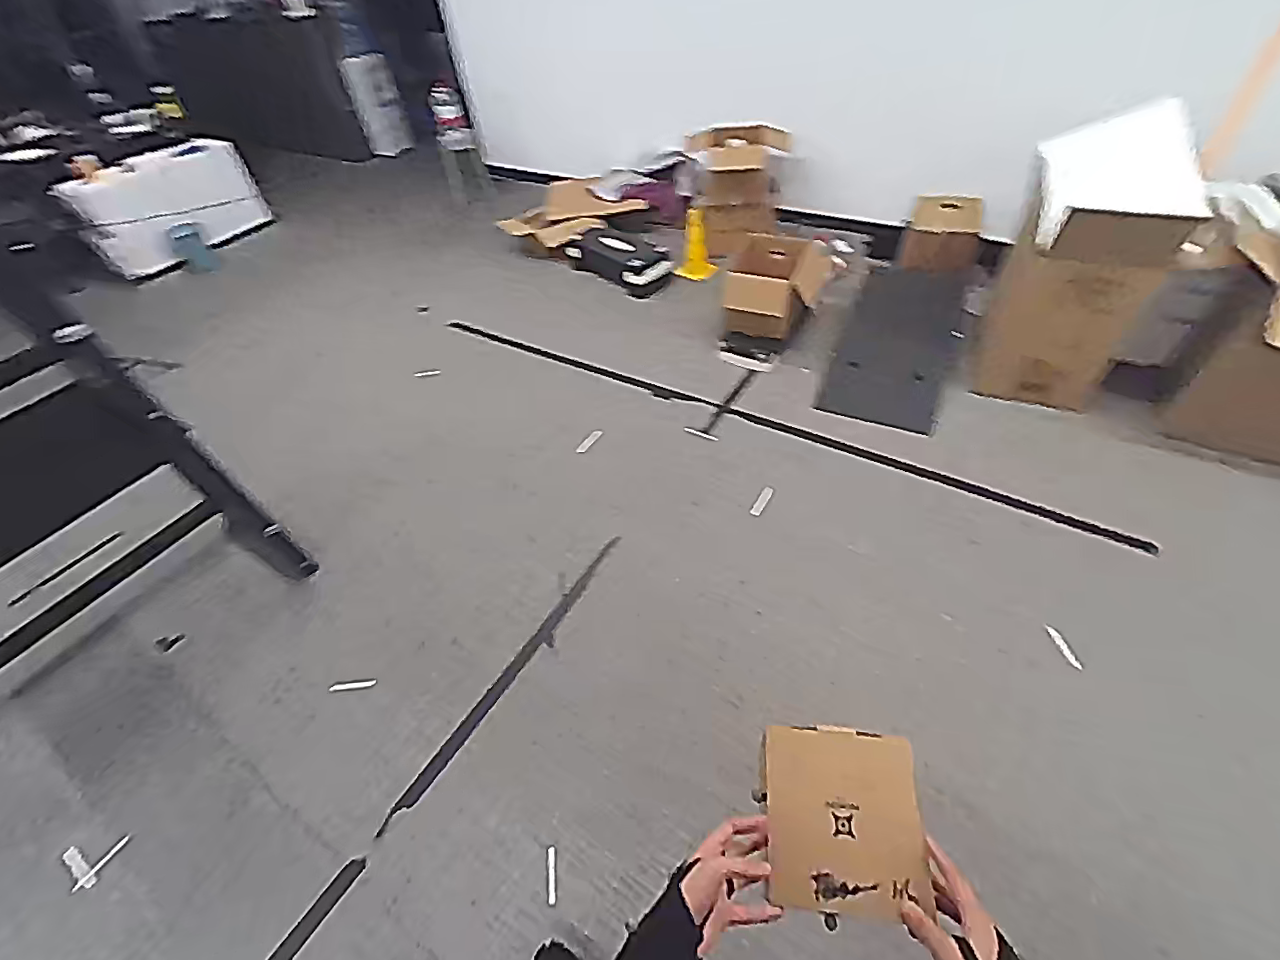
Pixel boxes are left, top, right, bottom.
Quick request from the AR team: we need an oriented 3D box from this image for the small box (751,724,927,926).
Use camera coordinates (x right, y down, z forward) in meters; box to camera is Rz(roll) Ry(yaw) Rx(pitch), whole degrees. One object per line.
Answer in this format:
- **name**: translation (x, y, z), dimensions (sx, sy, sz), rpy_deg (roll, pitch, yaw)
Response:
- **small box**: translation (0.224, 0.414, 0.661), dimensions (0.168, 0.176, 0.179), rpy_deg (1, 56, 9)
